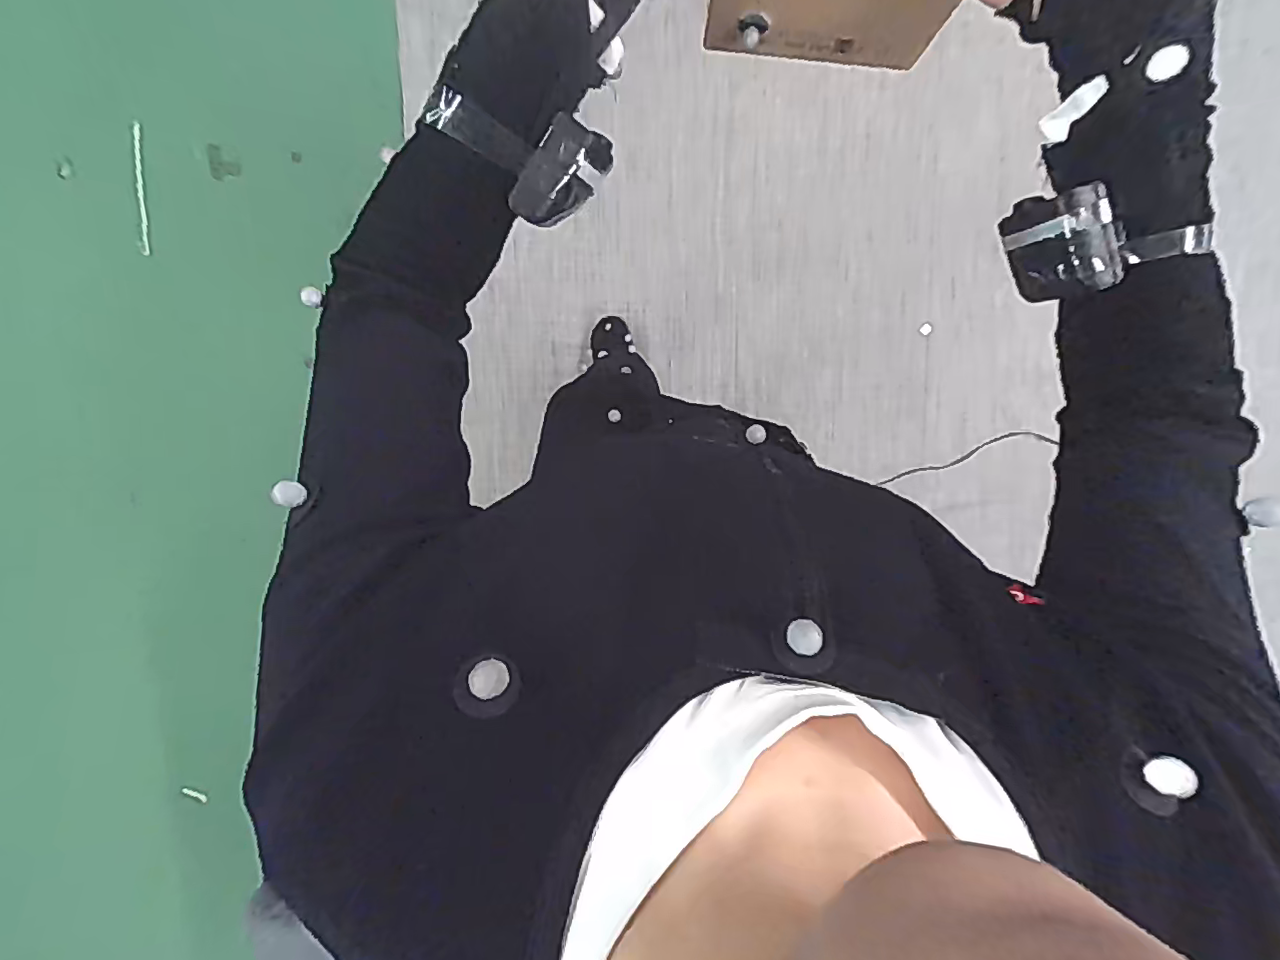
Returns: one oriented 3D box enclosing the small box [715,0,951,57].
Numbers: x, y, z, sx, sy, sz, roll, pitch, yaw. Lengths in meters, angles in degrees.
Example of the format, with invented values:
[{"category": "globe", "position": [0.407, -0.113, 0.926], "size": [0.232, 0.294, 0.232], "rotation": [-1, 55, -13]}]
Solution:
[{"category": "small box", "position": [0.144, -0.413, 0.337], "size": [0.168, 0.176, 0.179], "rotation": [5, 93, -2]}]
